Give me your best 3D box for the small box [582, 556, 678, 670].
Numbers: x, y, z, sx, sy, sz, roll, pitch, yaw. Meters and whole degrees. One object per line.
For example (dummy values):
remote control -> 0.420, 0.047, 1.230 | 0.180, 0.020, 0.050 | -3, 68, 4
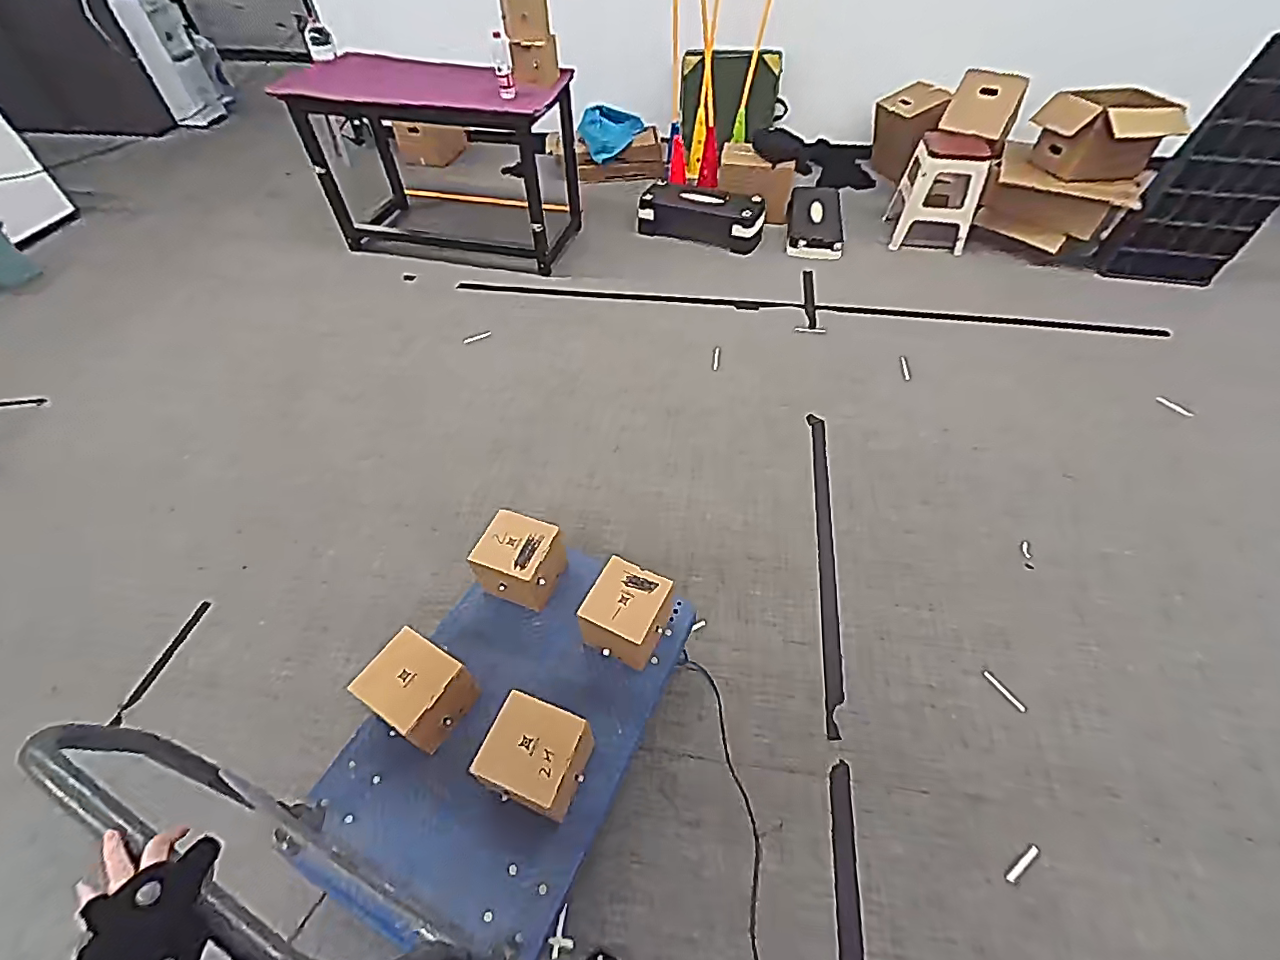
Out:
small box -> -0.022, 0.322, 1.303 | 0.168, 0.176, 0.179 | 22, 55, 18

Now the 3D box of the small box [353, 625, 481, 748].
small box -> -0.483, 0.460, 1.195 | 0.179, 0.176, 0.168 | 26, 54, 19

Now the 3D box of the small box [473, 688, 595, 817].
small box -> -0.206, 0.561, 1.105 | 0.179, 0.176, 0.168 | 17, 52, 15
